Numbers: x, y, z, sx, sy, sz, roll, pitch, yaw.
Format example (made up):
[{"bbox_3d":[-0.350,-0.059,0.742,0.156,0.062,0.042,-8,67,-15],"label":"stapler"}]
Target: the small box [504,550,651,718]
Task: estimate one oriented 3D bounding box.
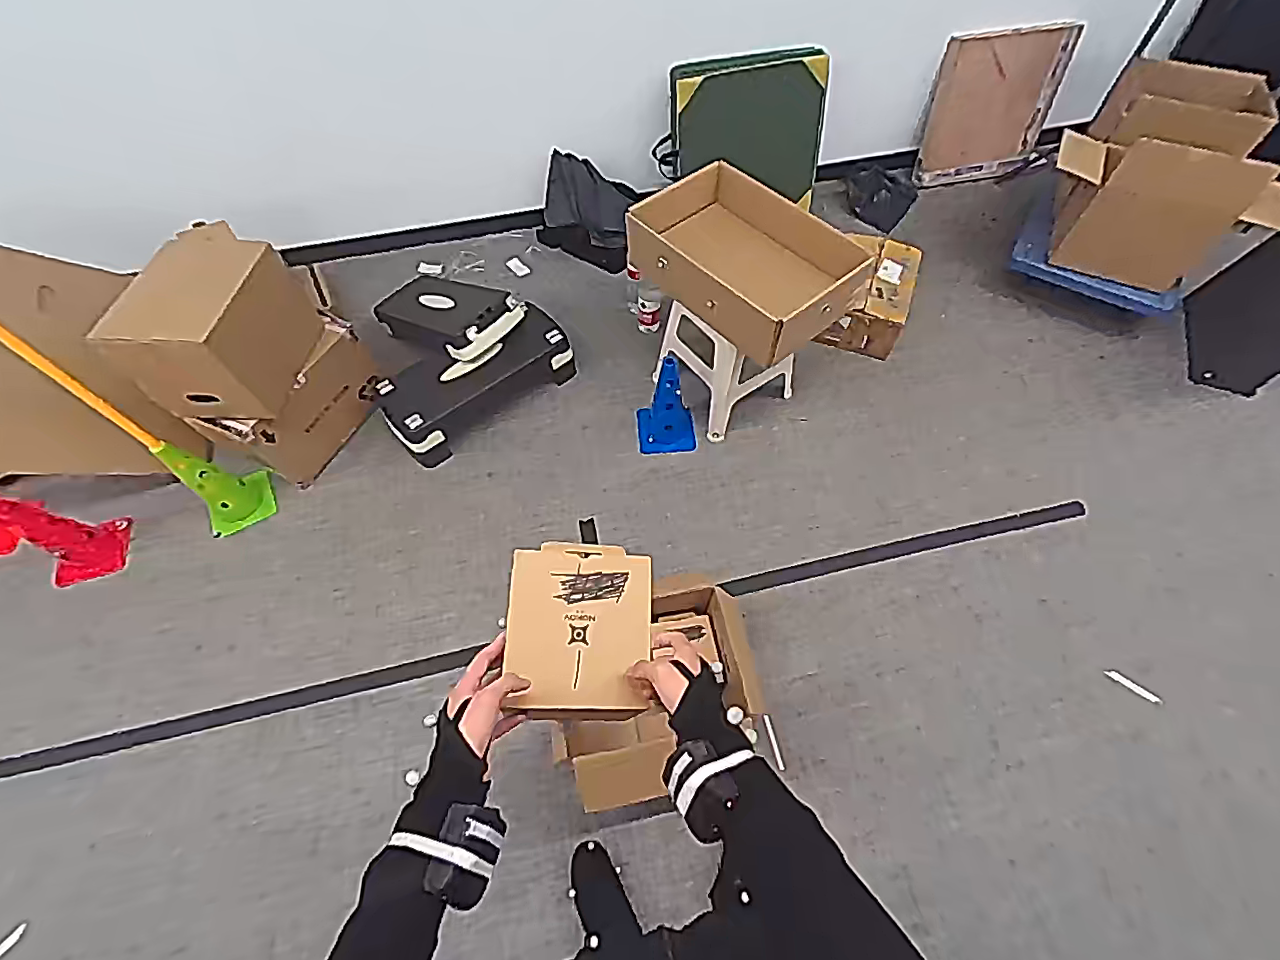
[{"bbox_3d":[-0.083,0.206,0.702,0.168,0.176,0.179,5,62,-9],"label":"small box"}]
